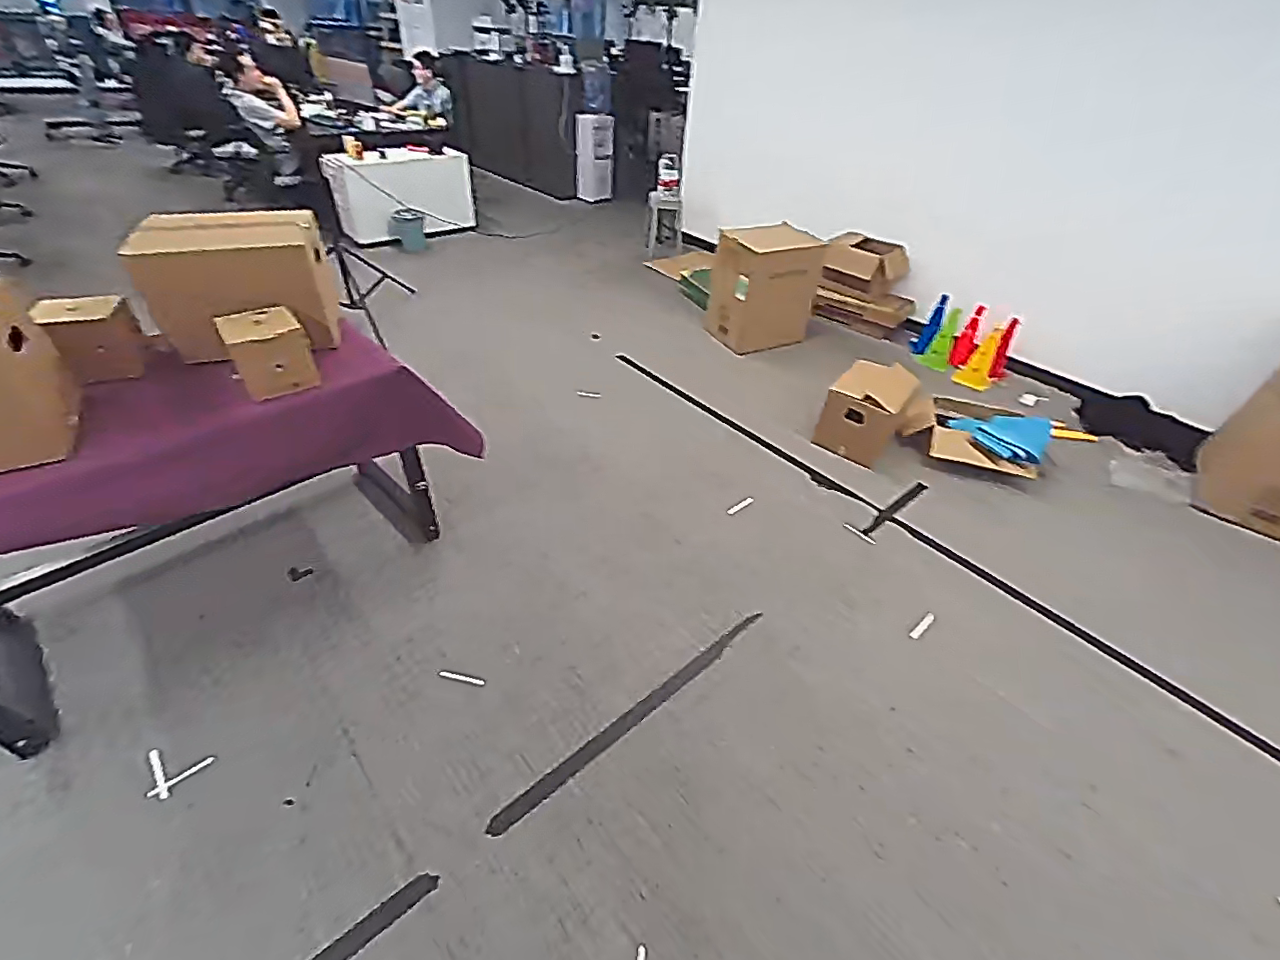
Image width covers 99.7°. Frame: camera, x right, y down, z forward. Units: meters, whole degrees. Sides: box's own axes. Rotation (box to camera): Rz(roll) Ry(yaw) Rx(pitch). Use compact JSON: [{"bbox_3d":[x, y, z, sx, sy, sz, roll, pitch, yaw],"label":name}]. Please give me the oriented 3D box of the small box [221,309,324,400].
[{"bbox_3d":[-0.970,-0.330,1.436,0.168,0.176,0.179,-25,48,-31],"label":"small box"}]
